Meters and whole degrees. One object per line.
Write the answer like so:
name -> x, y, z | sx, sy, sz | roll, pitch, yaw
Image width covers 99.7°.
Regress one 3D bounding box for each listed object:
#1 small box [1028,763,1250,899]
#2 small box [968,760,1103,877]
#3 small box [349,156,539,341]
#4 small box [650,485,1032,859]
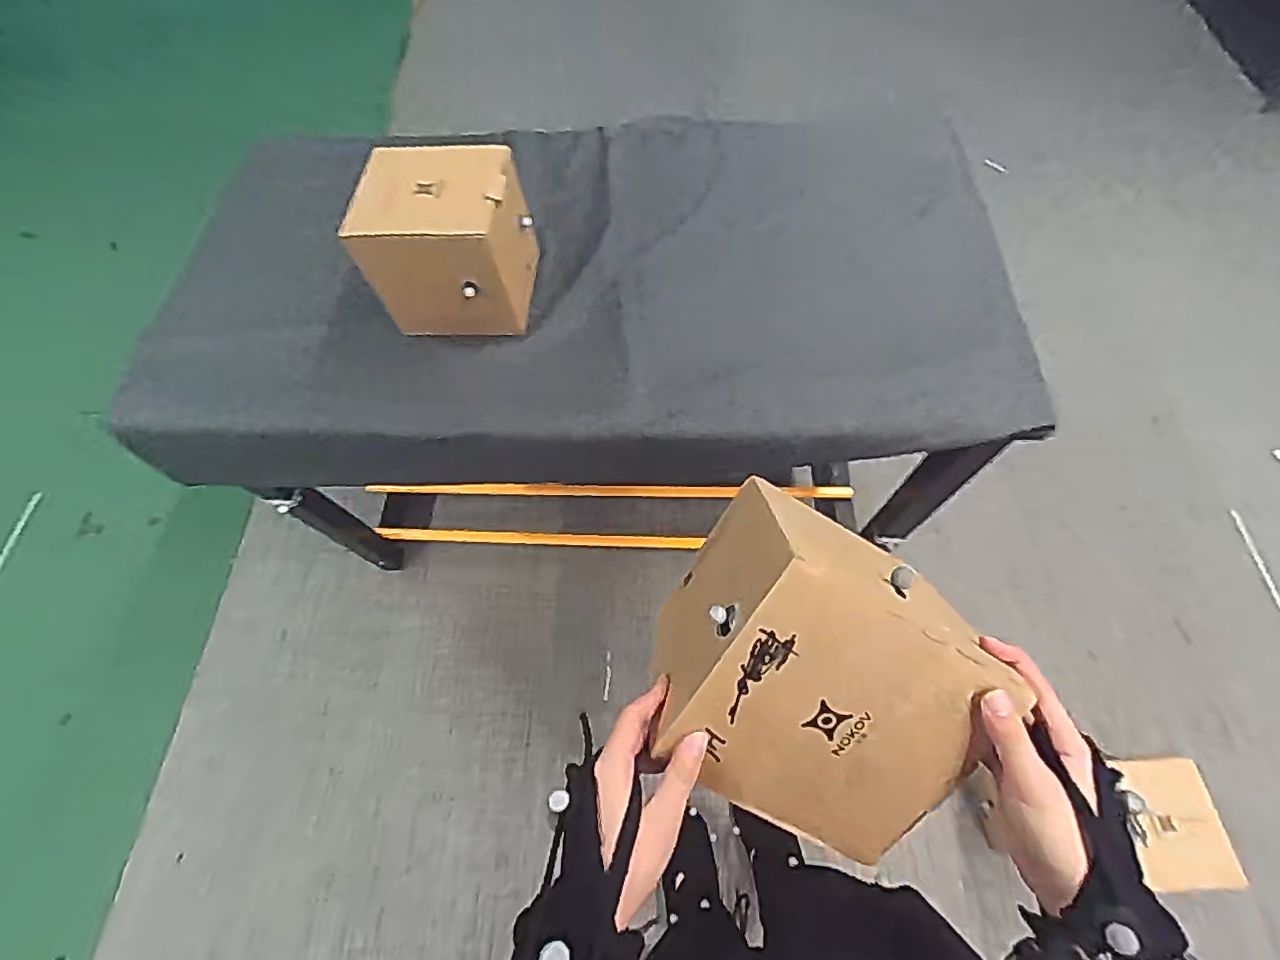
small box -> 0.764, 0.547, 0.861 | 0.179, 0.176, 0.168 | -3, 63, 1
small box -> 0.760, 0.620, 1.008 | 0.179, 0.176, 0.168 | -5, 62, 1
small box -> -0.243, -0.303, 0.726 | 0.179, 0.176, 0.168 | 0, 62, 4
small box -> 0.122, 0.124, 0.406 | 0.179, 0.176, 0.168 | 29, 105, -7
